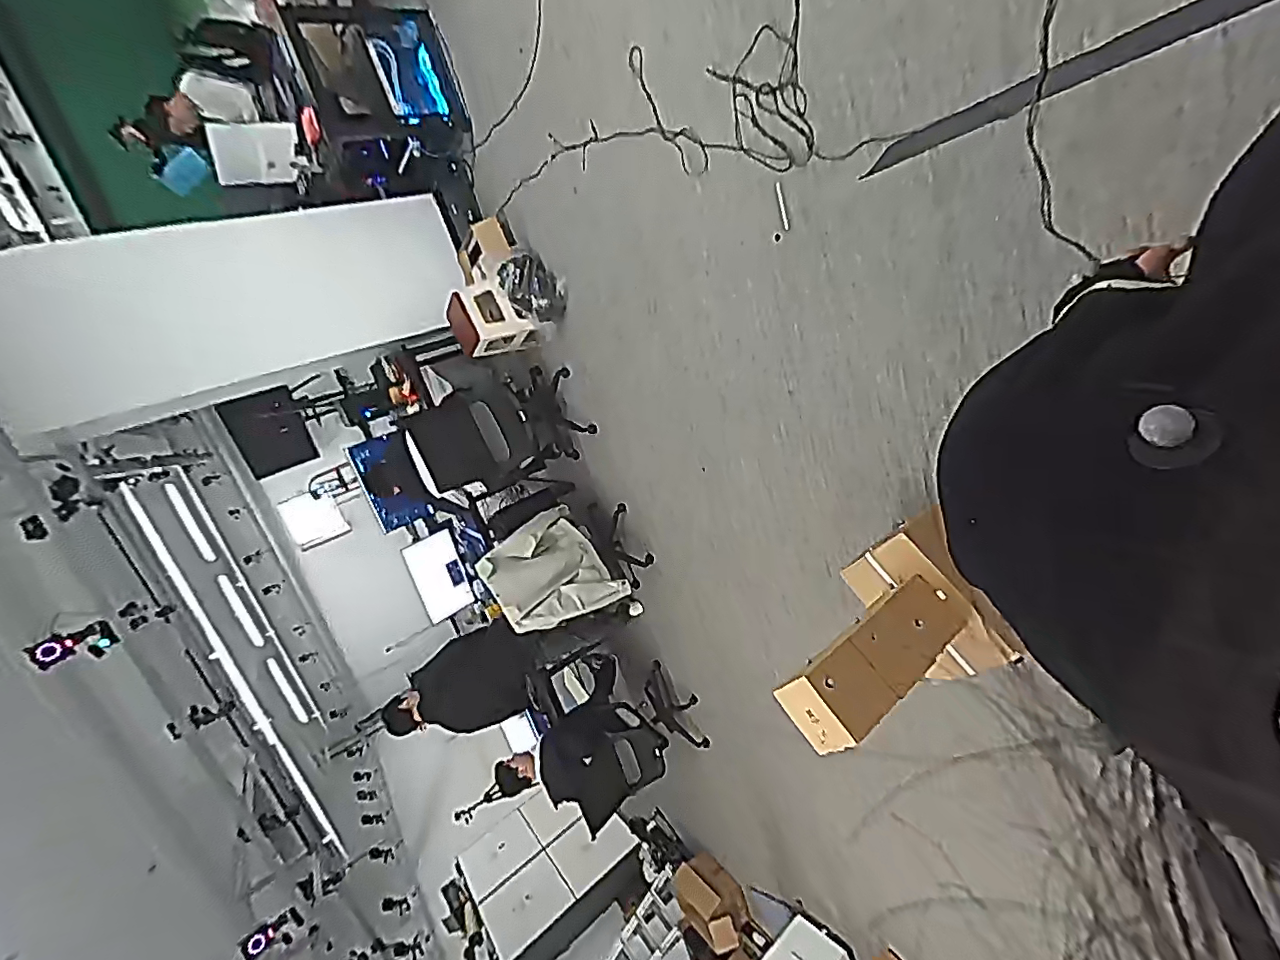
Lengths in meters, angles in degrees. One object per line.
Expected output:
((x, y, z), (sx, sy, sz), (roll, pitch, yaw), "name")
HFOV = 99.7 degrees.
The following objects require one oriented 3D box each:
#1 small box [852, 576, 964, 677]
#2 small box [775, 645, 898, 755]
((0.721, 0.391, 1.453), (0.179, 0.176, 0.168), (52, 148, 21), "small box")
((0.465, 0.517, 1.289), (0.179, 0.176, 0.168), (52, 149, 20), "small box")
